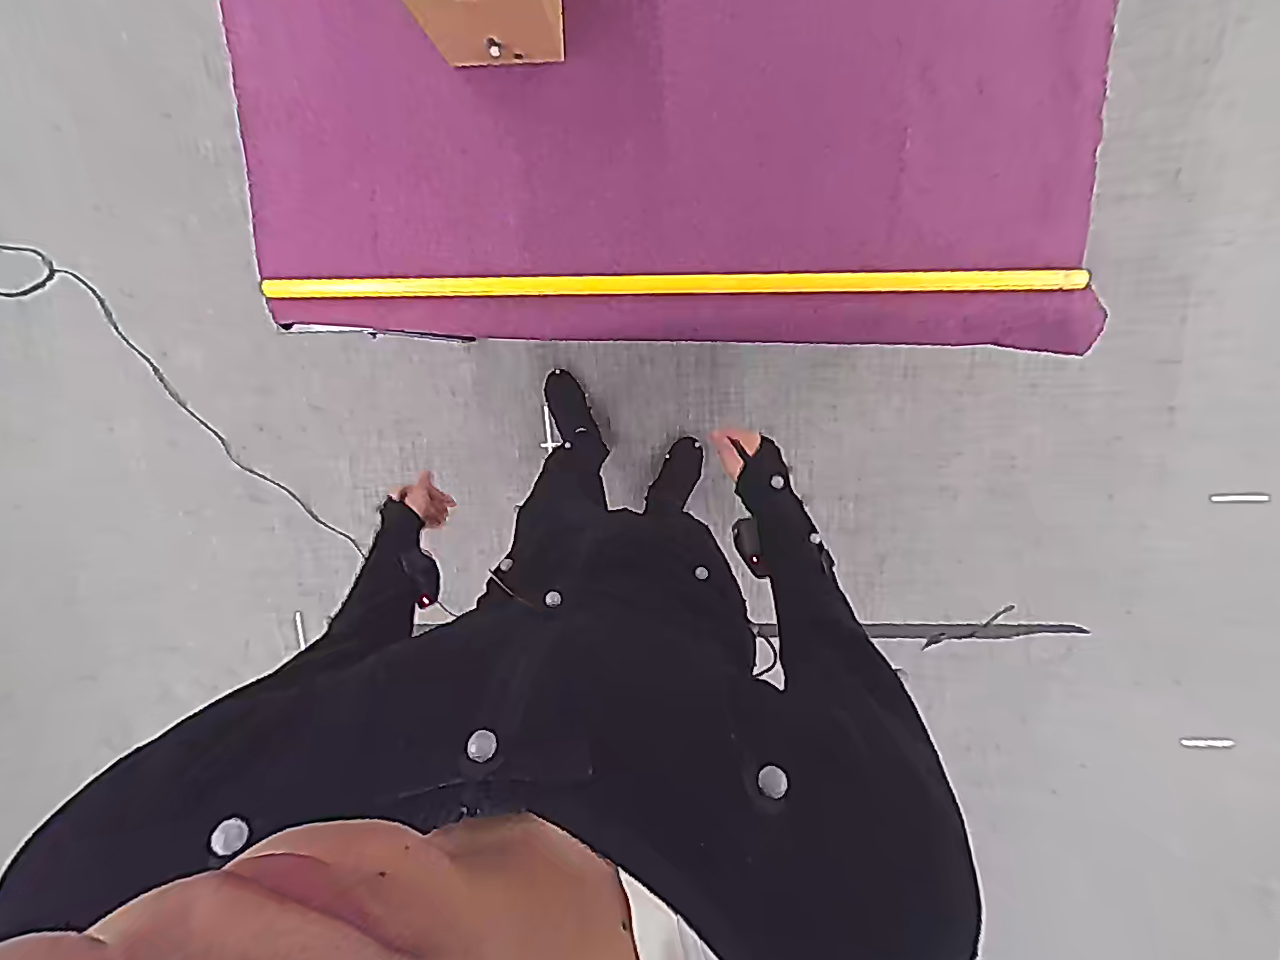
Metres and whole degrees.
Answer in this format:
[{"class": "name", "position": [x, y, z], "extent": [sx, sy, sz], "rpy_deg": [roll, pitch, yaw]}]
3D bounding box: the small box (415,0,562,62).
[{"class": "small box", "position": [-0.193, -0.657, 0.663], "extent": [0.168, 0.176, 0.179], "rpy_deg": [0, 104, 3]}]
